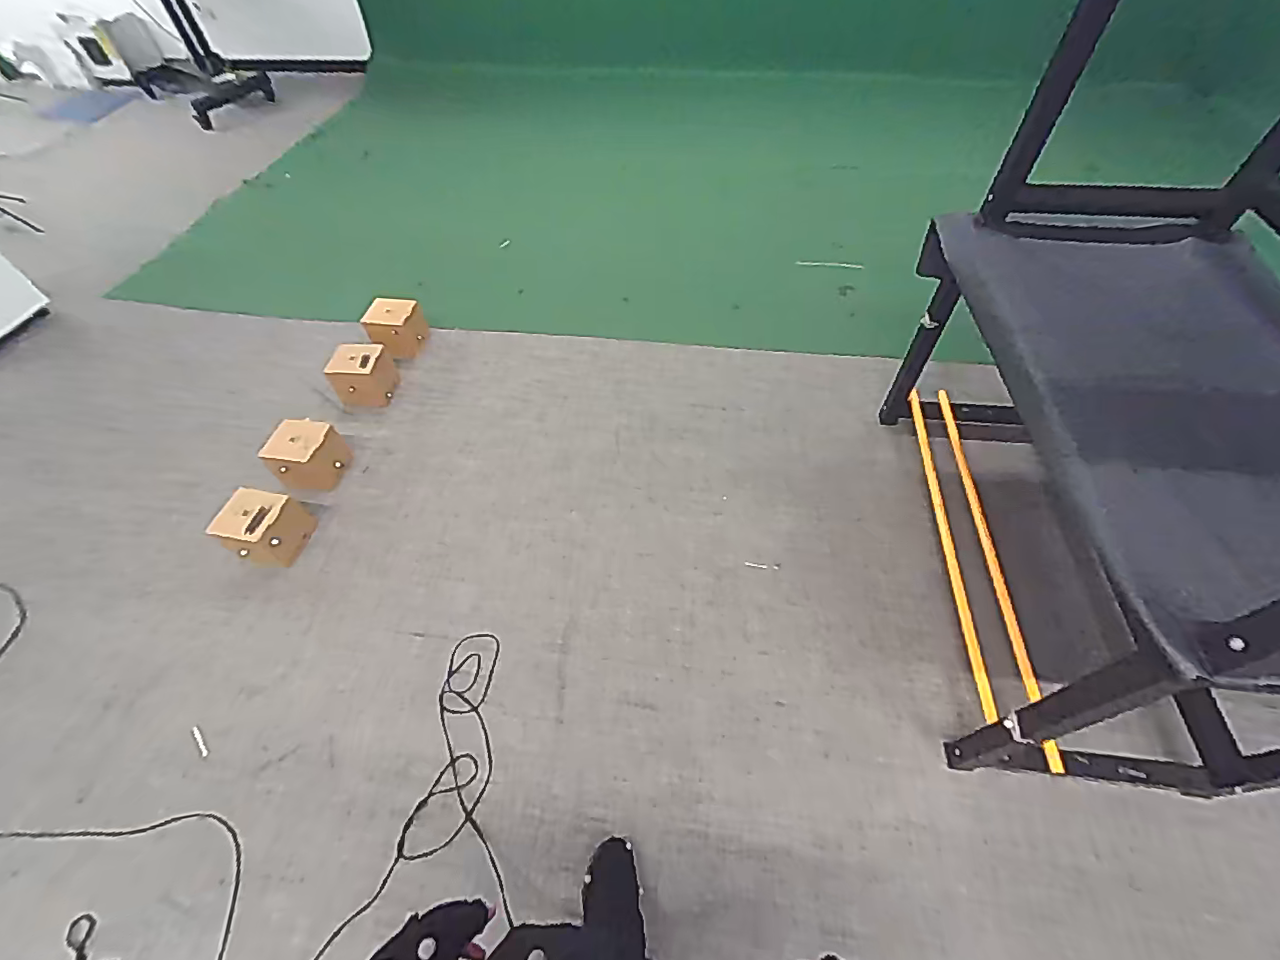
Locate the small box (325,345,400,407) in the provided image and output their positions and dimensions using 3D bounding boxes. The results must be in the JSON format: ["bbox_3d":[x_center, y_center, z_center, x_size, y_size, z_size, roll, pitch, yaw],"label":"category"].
[{"bbox_3d":[-1.047,-0.394,2.057,0.179,0.176,0.168,2,52,3],"label":"small box"}]

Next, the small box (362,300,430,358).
[{"bbox_3d":[-1.002,-0.623,2.234,0.179,0.176,0.168,5,54,5],"label":"small box"}]

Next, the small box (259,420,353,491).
[{"bbox_3d":[-1.111,-0.080,1.814,0.179,0.176,0.168,7,54,6],"label":"small box"}]
